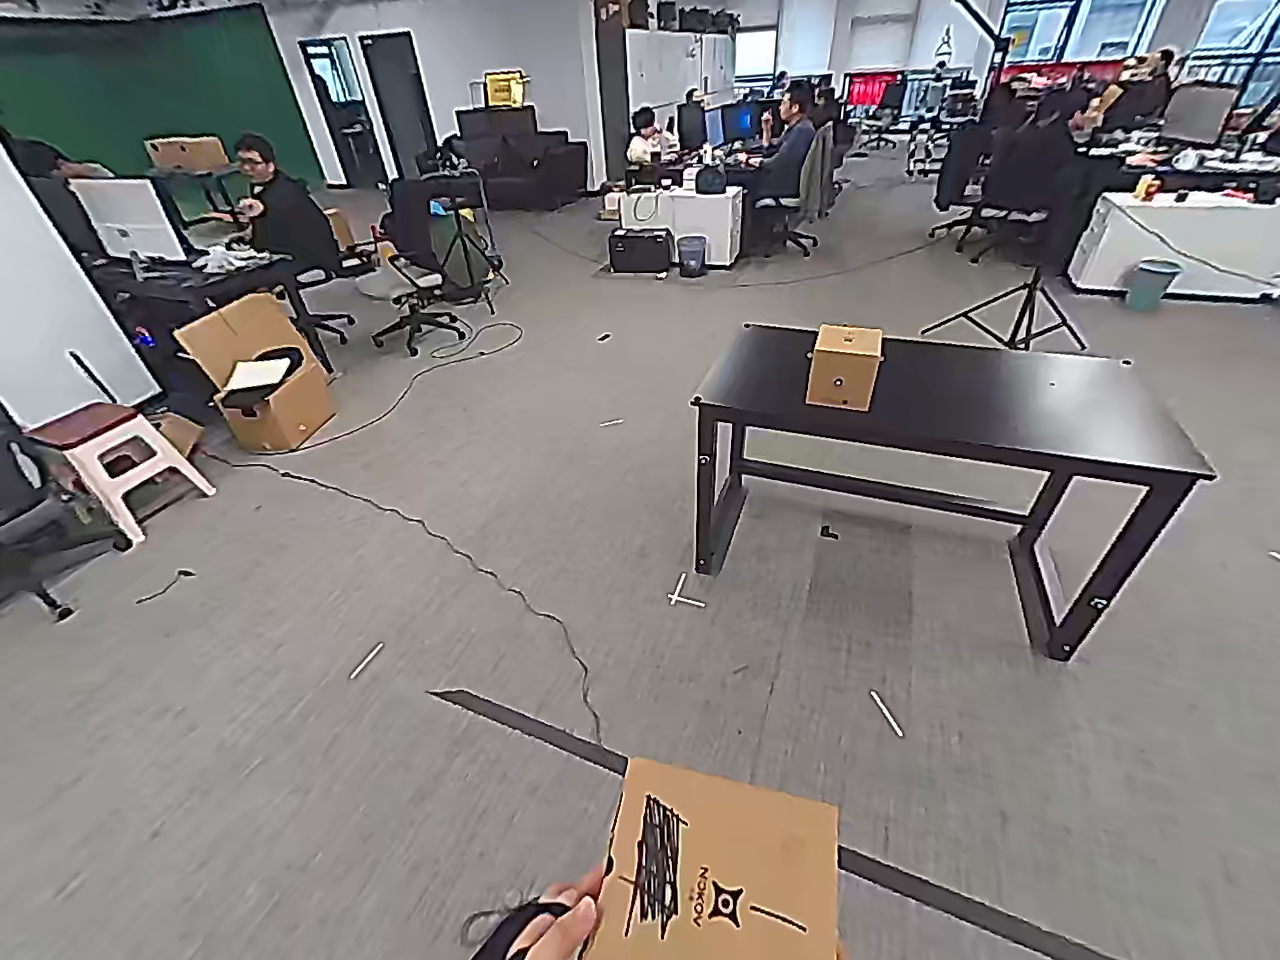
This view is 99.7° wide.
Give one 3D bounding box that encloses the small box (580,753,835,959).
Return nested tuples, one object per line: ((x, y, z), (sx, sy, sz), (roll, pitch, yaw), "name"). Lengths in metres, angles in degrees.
((0.064, 0.366, 0.467), (0.179, 0.176, 0.168), (7, 47, 13), "small box")

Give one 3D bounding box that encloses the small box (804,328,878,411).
((0.564, -0.312, 1.525), (0.168, 0.176, 0.179), (11, 39, 18), "small box")
